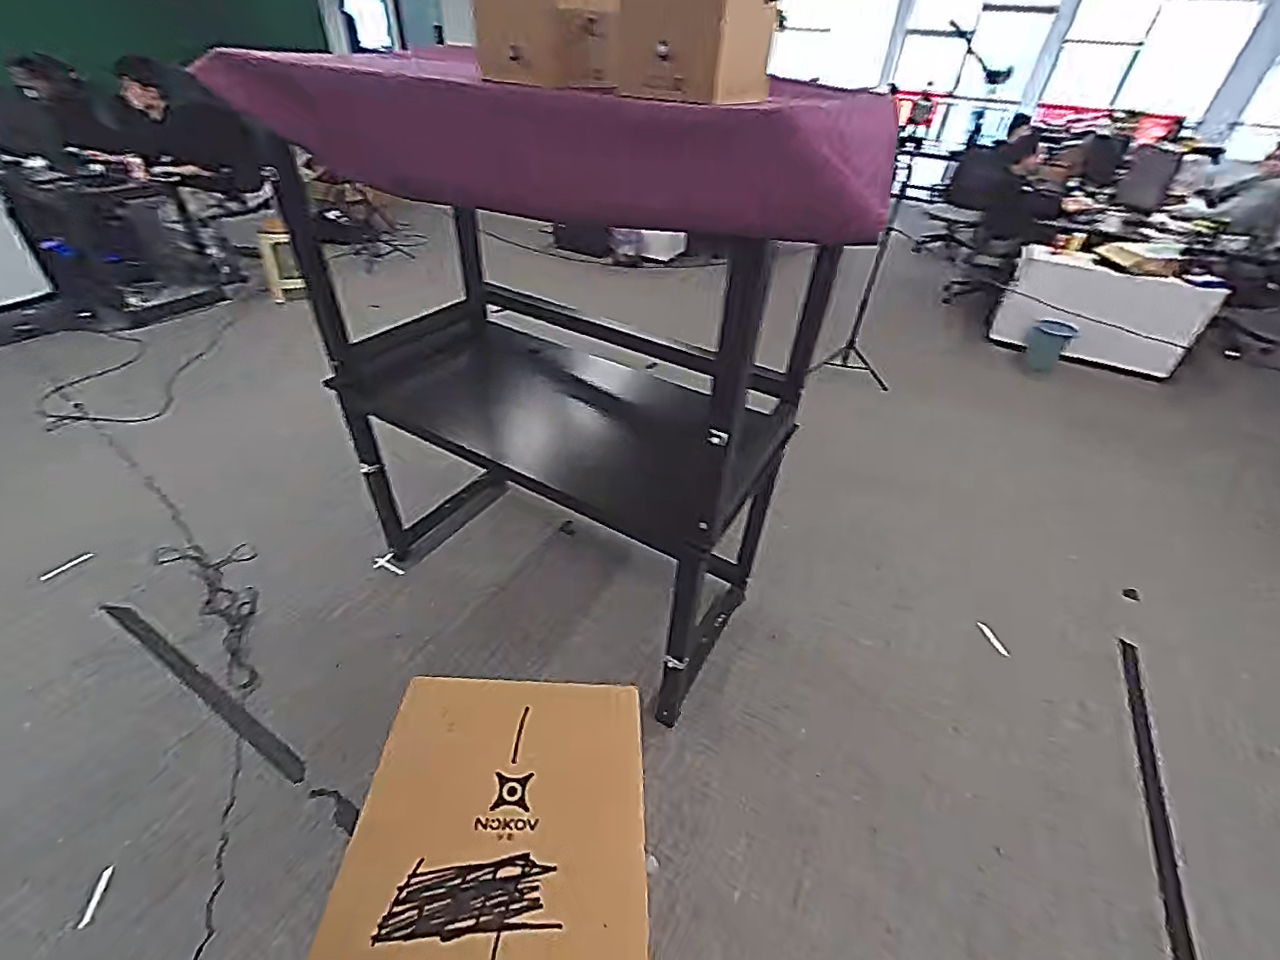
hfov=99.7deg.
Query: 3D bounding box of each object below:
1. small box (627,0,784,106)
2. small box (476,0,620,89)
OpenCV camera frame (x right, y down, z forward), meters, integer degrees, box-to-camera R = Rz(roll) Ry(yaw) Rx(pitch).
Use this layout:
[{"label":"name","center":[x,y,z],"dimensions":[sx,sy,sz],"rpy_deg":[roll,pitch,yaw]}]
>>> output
[{"label":"small box","center":[0.091,-0.644,0.770],"dimensions":[0.168,0.176,0.179],"rpy_deg":[24,42,25]},{"label":"small box","center":[-0.142,-0.738,0.869],"dimensions":[0.179,0.176,0.168],"rpy_deg":[26,43,24]}]
